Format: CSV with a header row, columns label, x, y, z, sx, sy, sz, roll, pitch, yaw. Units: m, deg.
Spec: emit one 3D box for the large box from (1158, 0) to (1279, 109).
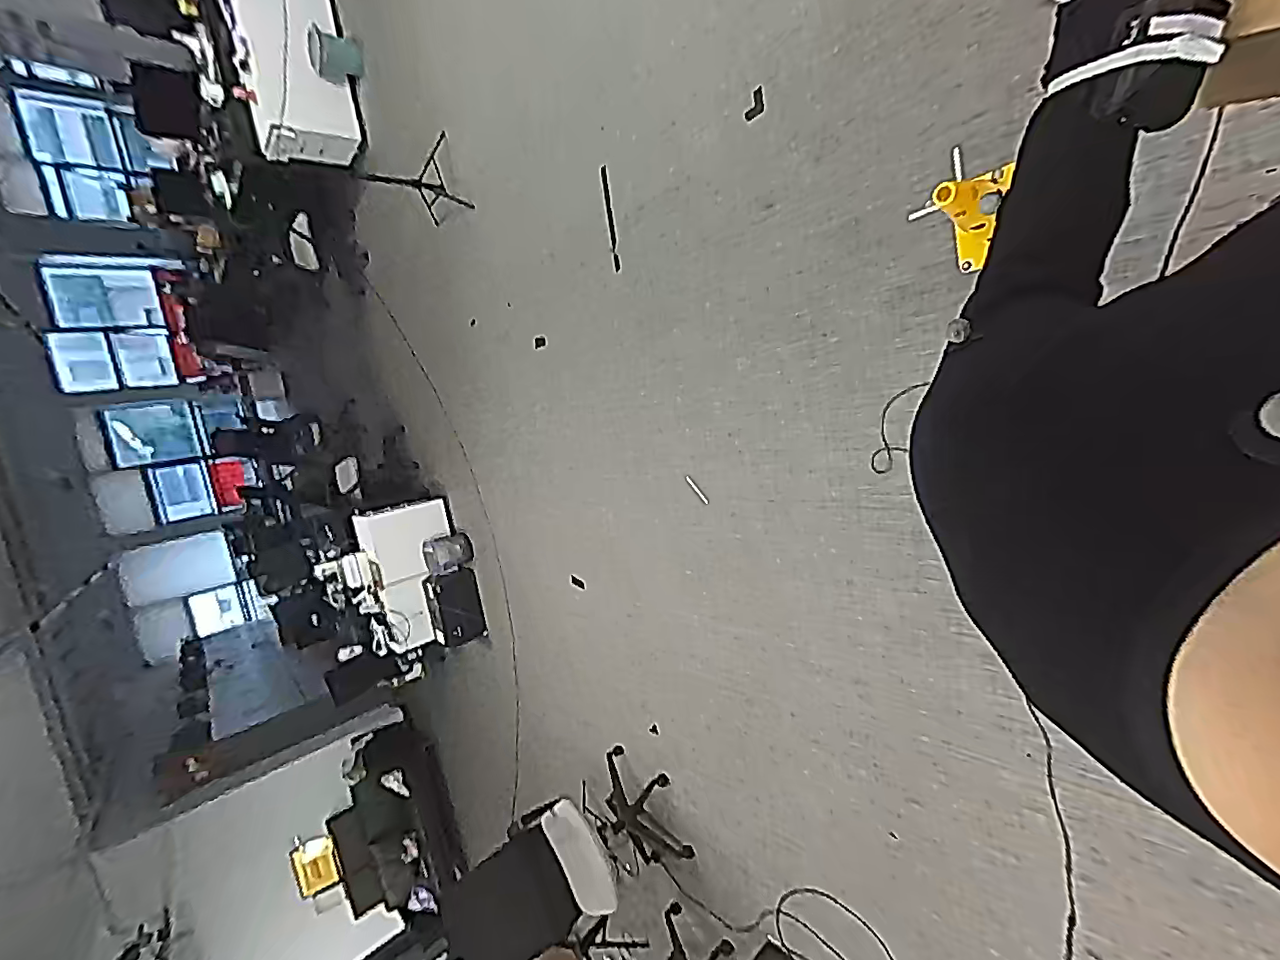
label,x,y,z,sx,sy,sz,roll,pitch,yaw
large box,0.579,-0.434,0.269,0.408,0.320,0.320,18,121,44
